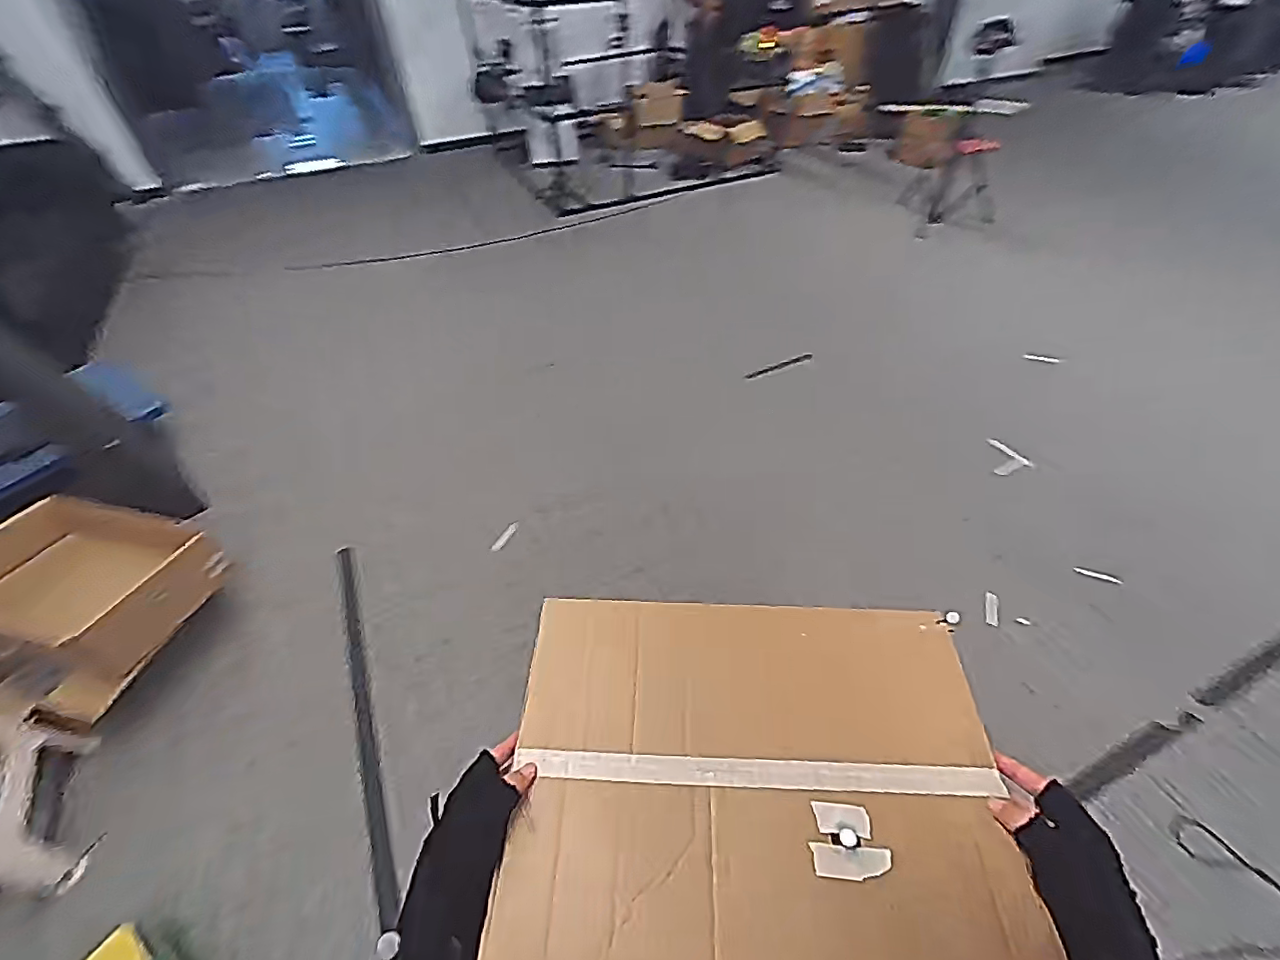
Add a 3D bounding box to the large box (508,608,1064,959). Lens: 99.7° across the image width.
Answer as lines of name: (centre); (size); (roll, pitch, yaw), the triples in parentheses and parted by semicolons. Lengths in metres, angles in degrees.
large box: (0.110, 0.354, 0.573); (0.408, 0.320, 0.320); (2, 49, 4)
